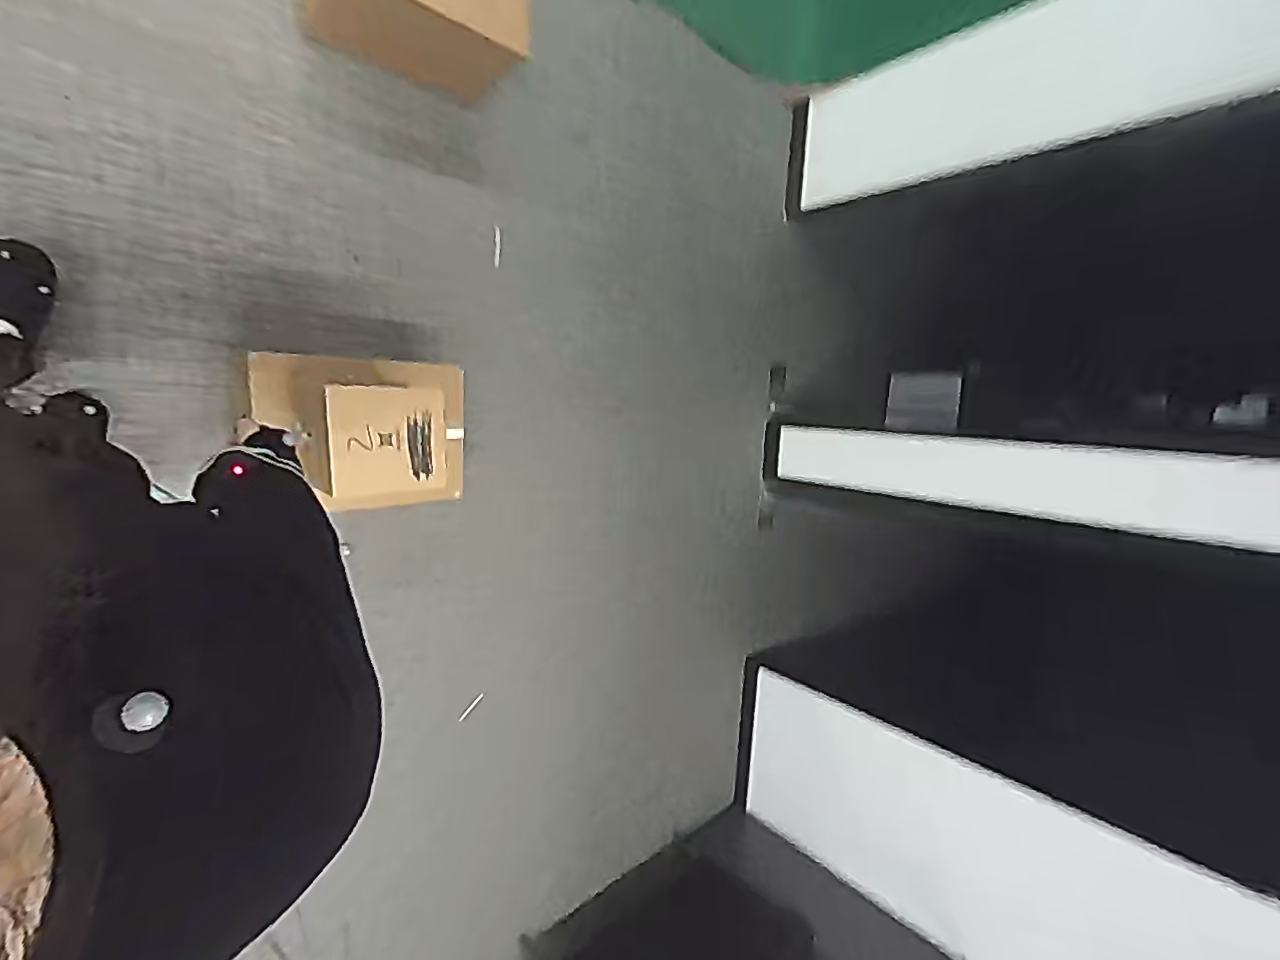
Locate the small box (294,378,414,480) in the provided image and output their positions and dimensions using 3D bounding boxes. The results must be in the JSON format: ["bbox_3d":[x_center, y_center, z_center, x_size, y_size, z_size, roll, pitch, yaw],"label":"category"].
[{"bbox_3d":[-0.544,-0.102,1.027,0.168,0.176,0.179,-7,101,-42],"label":"small box"}]

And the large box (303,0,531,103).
[{"bbox_3d":[-0.496,-1.133,1.202,0.408,0.320,0.320,-5,102,-43],"label":"large box"}]
